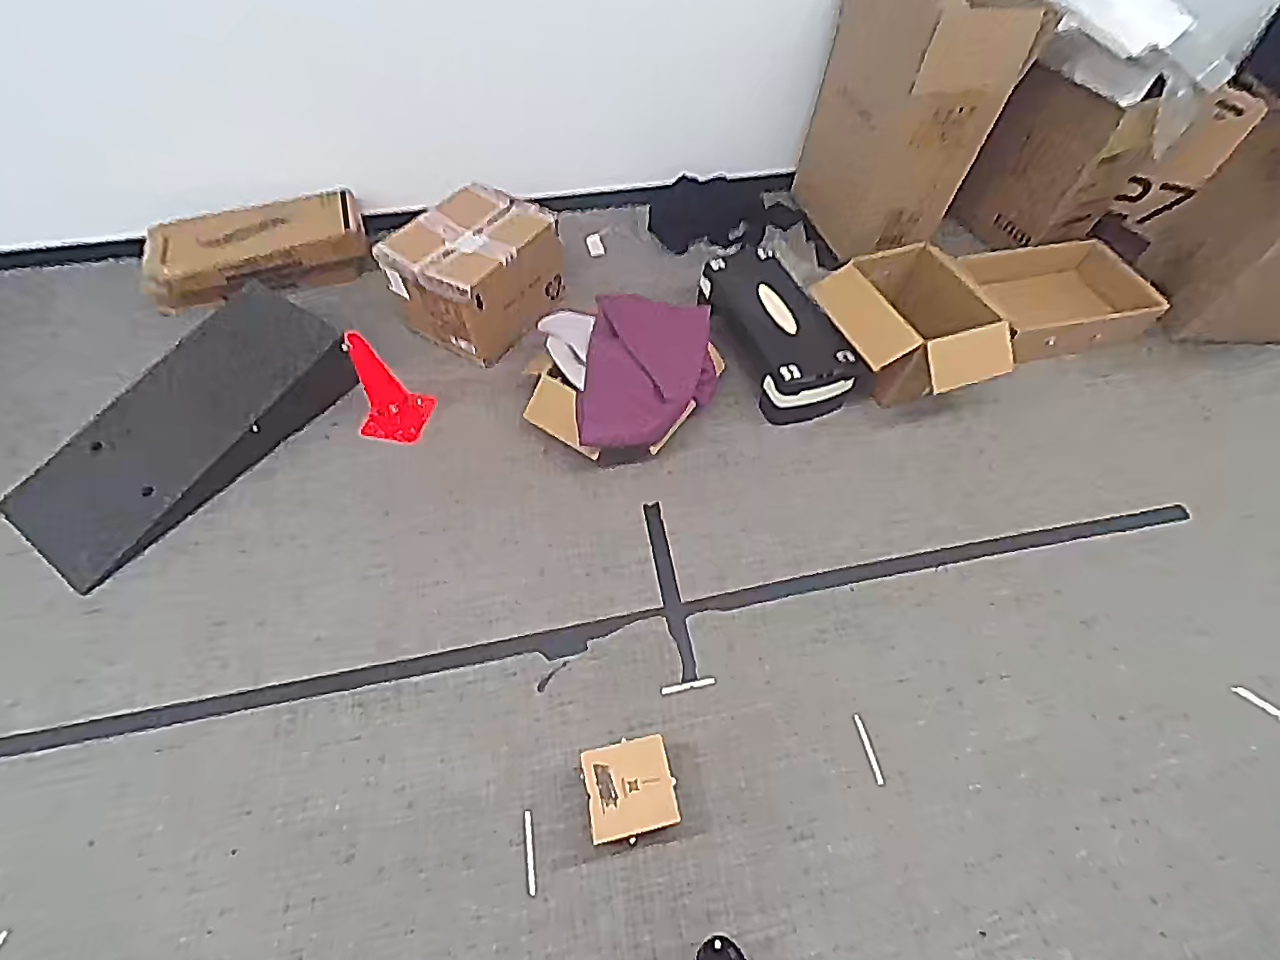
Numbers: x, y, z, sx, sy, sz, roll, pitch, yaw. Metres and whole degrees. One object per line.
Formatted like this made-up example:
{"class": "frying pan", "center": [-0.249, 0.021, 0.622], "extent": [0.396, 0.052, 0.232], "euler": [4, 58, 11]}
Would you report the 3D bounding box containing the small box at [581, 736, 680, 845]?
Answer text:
{"class": "small box", "center": [-0.021, 0.667, 1.157], "extent": [0.179, 0.176, 0.168], "euler": [-11, 58, -7]}
